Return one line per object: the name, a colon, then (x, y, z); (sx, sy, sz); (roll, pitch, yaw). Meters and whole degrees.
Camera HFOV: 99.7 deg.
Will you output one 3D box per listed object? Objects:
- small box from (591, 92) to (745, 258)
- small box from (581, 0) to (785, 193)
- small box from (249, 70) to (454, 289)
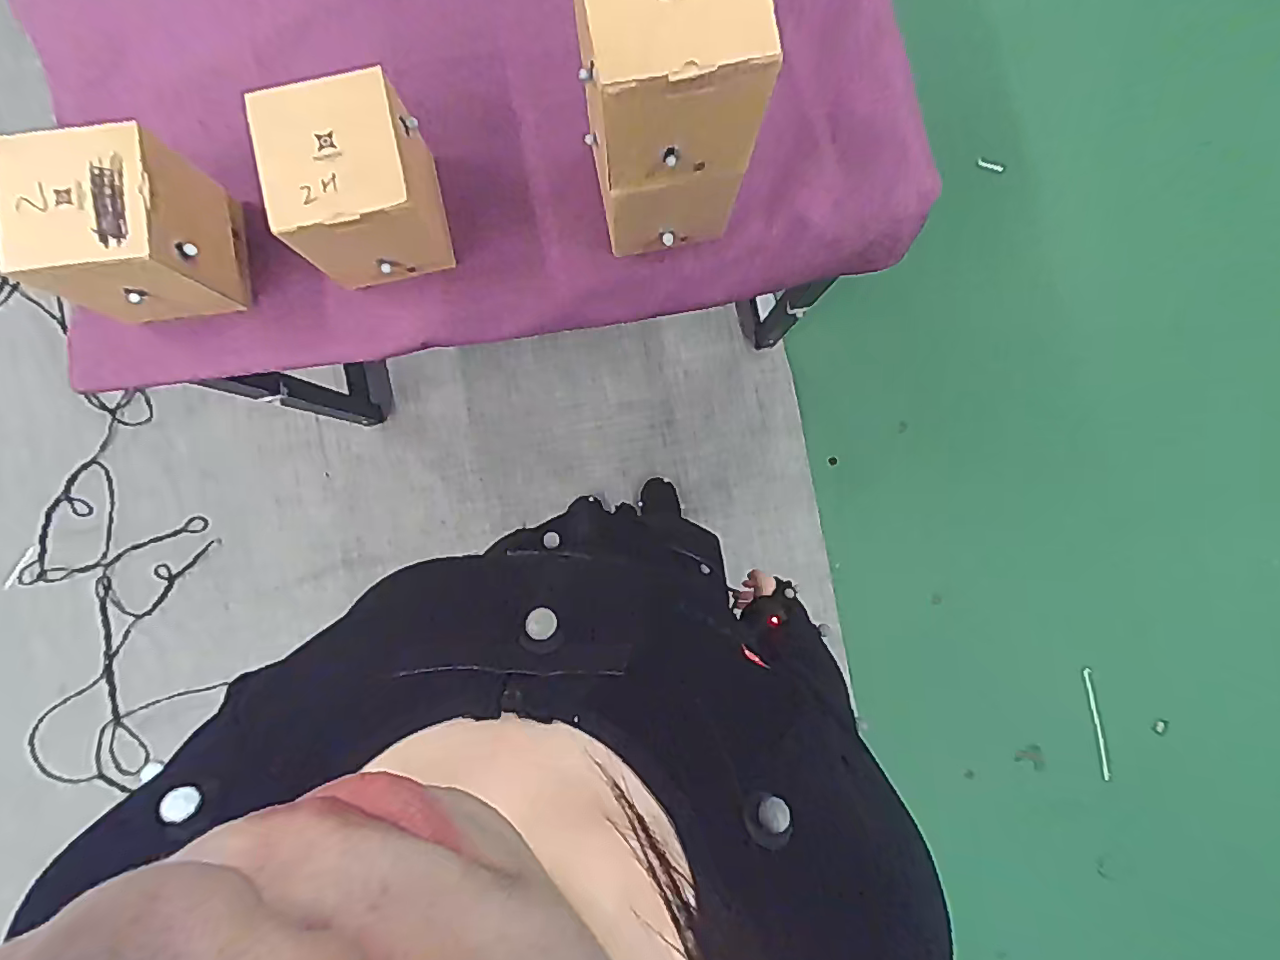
small box: (0.029, -0.427, 0.722); (0.168, 0.176, 0.179); (-11, 89, -1)
small box: (0.032, -0.437, 0.559); (0.168, 0.176, 0.179); (-11, 89, -1)
small box: (-0.363, -0.381, 0.712); (0.168, 0.176, 0.179); (-13, 88, -1)
